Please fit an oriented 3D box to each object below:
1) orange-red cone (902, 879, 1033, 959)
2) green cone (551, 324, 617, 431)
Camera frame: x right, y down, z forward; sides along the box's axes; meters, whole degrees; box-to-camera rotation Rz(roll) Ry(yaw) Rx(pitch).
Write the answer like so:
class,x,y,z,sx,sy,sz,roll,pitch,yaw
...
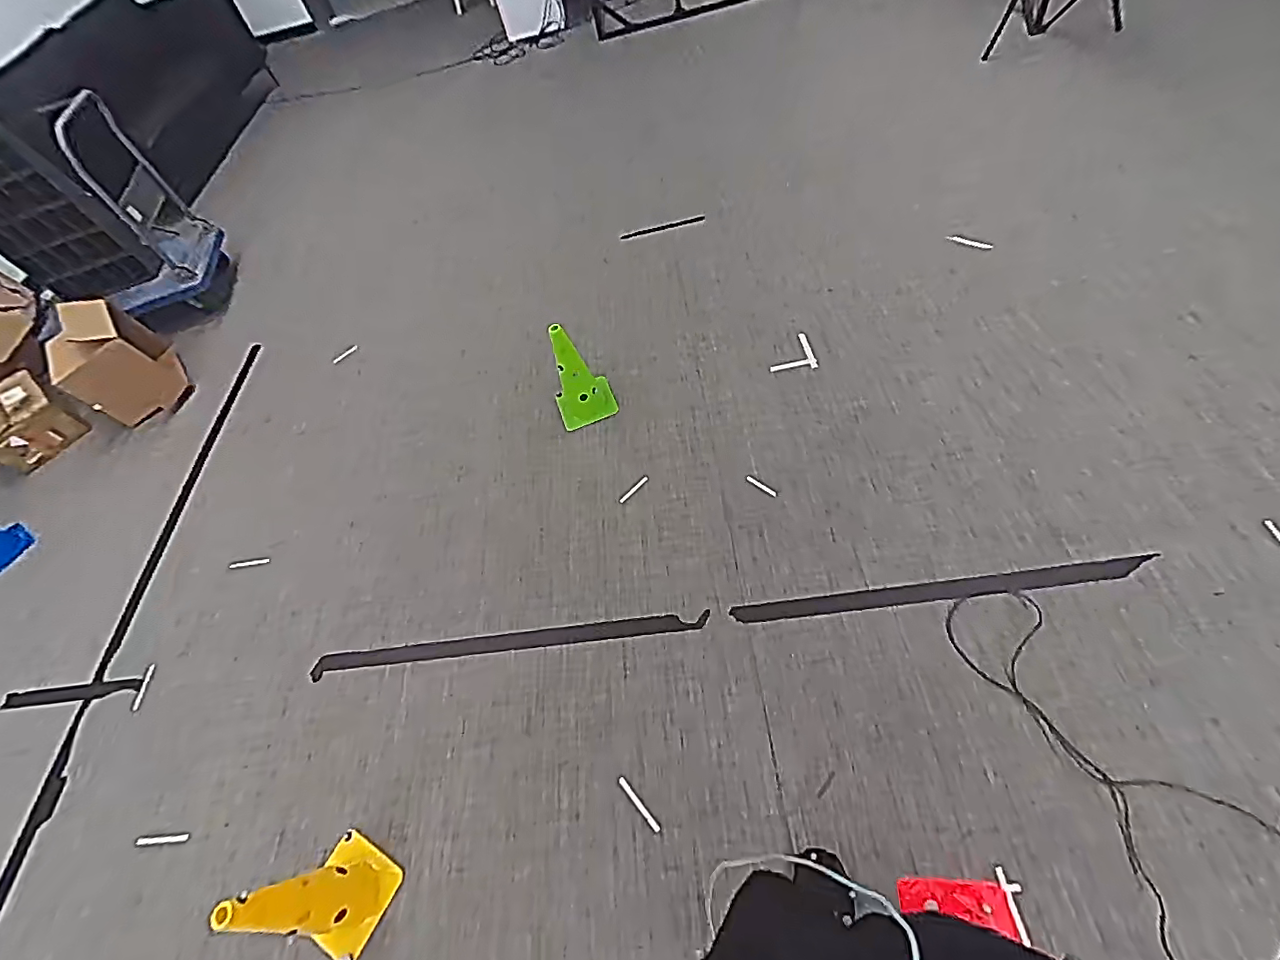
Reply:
class,x,y,z,sx,sy,sz,roll,pitch,yaw
orange-red cone,0.567,0.772,0.861,0.199,0.360,0.198,-4,56,13
green cone,-0.230,-0.368,1.818,0.202,0.368,0.200,-22,55,-3
